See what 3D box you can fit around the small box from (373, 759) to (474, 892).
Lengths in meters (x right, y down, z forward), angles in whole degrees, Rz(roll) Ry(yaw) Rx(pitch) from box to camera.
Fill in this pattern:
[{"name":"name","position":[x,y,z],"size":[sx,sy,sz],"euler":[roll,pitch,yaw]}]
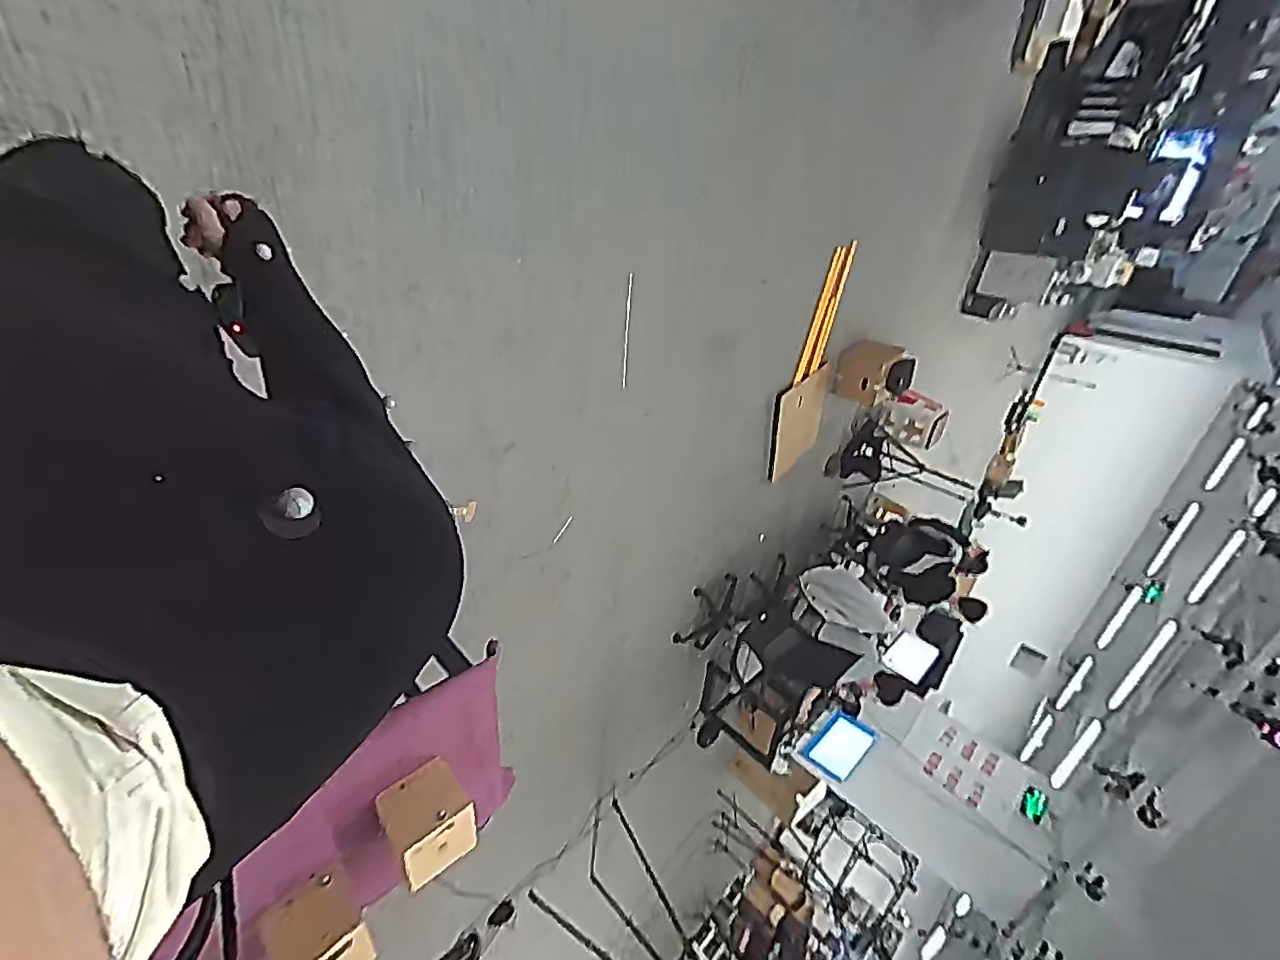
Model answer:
[{"name":"small box","position":[-0.522,0.825,1.307],"size":[0.168,0.176,0.179],"euler":[-23,130,-41]}]

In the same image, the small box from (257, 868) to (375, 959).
[{"name":"small box","position":[-0.720,1.018,1.203],"size":[0.168,0.176,0.179],"euler":[-24,131,-39]}]
